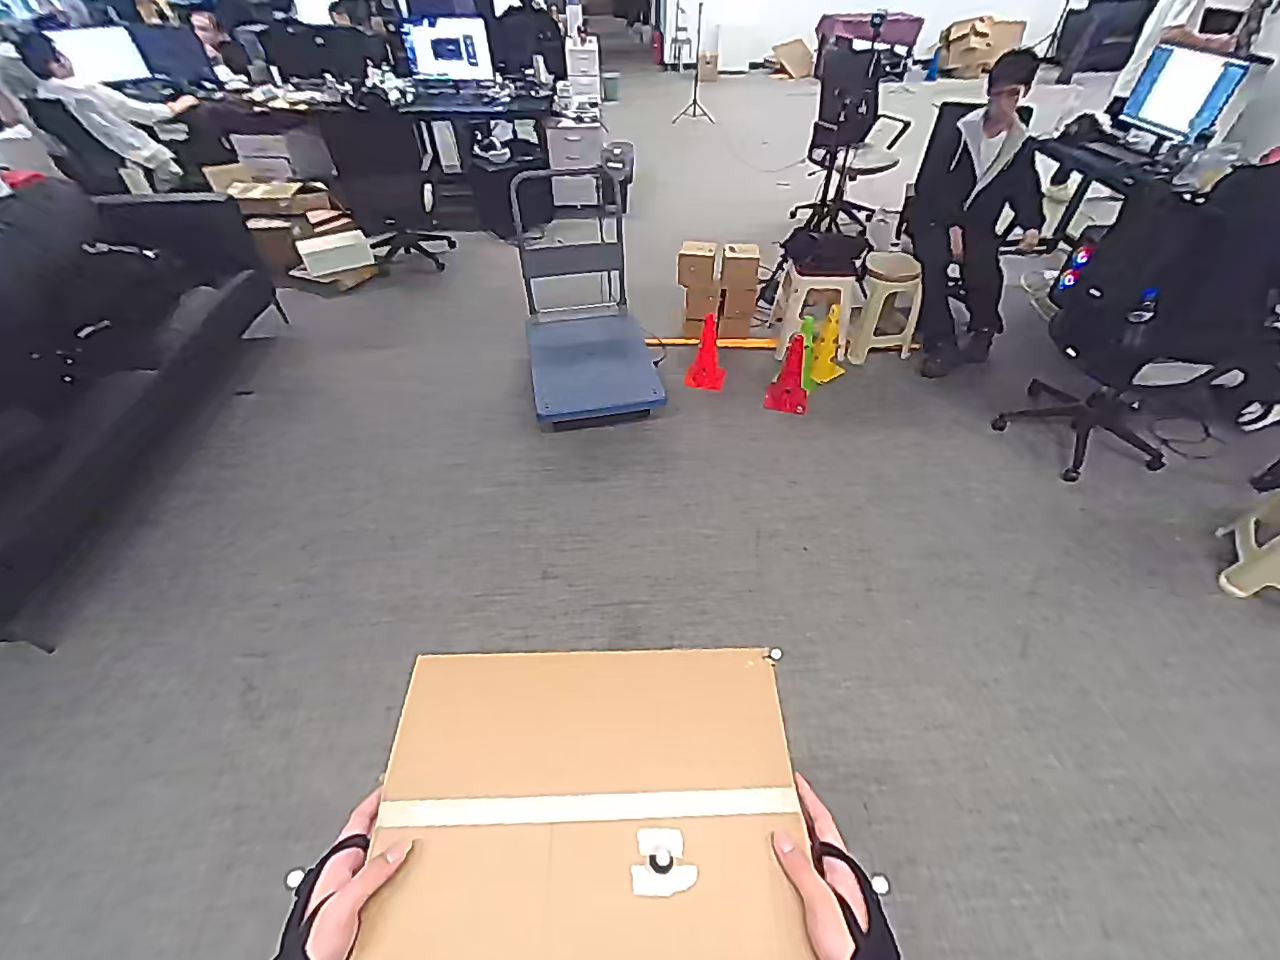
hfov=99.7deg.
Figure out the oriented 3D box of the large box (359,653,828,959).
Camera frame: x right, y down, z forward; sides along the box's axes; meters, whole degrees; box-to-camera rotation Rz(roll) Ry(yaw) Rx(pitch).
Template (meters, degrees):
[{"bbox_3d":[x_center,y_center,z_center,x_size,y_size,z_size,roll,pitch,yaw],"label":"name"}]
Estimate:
[{"bbox_3d":[-0.048,0.422,0.641,0.408,0.320,0.320,0,49,-2],"label":"large box"}]
